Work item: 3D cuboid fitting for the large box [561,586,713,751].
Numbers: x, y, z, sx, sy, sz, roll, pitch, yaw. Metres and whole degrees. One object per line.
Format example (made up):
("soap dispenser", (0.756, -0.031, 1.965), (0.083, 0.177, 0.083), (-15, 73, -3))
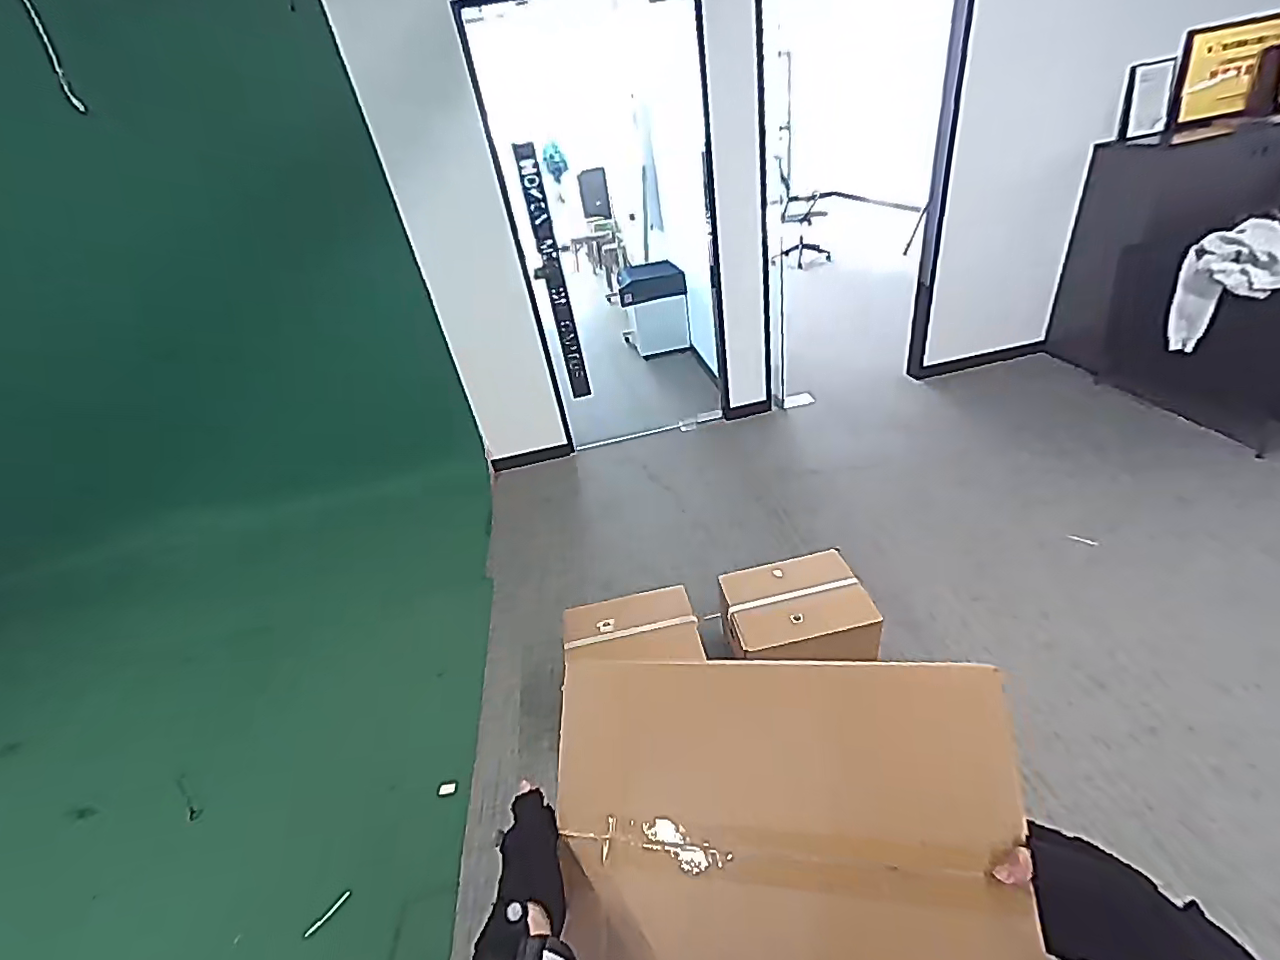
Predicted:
("large box", (-0.013, 0.588, 1.699), (0.408, 0.320, 0.320), (-13, 33, -1))
